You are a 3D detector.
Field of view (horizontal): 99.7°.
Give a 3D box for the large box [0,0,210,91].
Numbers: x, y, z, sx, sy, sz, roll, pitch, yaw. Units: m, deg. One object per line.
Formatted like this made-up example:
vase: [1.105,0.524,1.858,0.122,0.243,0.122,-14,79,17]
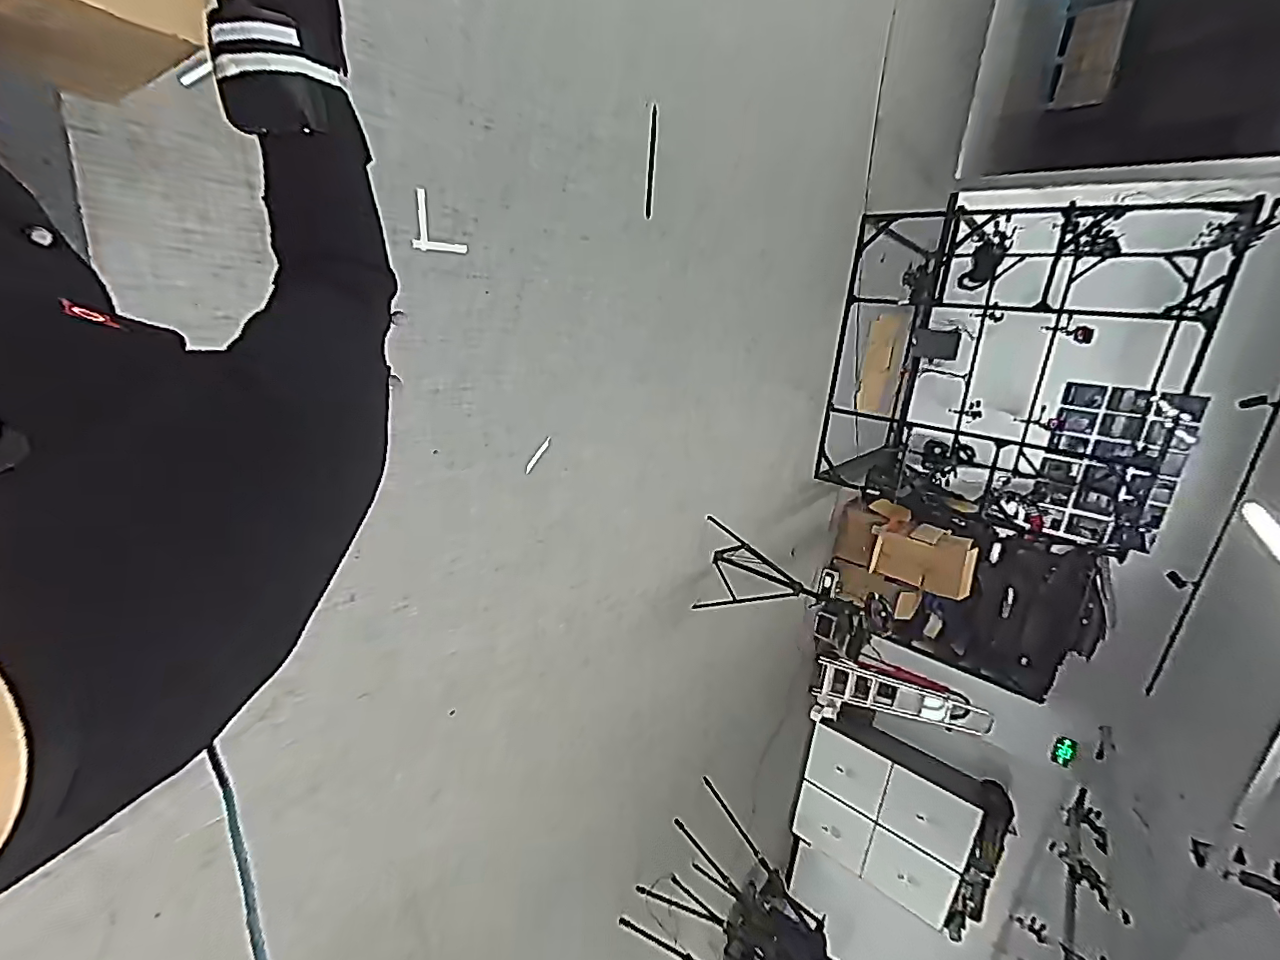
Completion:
large box: [-0.494,-0.443,0.239,0.408,0.320,0.320,-11,116,-50]
